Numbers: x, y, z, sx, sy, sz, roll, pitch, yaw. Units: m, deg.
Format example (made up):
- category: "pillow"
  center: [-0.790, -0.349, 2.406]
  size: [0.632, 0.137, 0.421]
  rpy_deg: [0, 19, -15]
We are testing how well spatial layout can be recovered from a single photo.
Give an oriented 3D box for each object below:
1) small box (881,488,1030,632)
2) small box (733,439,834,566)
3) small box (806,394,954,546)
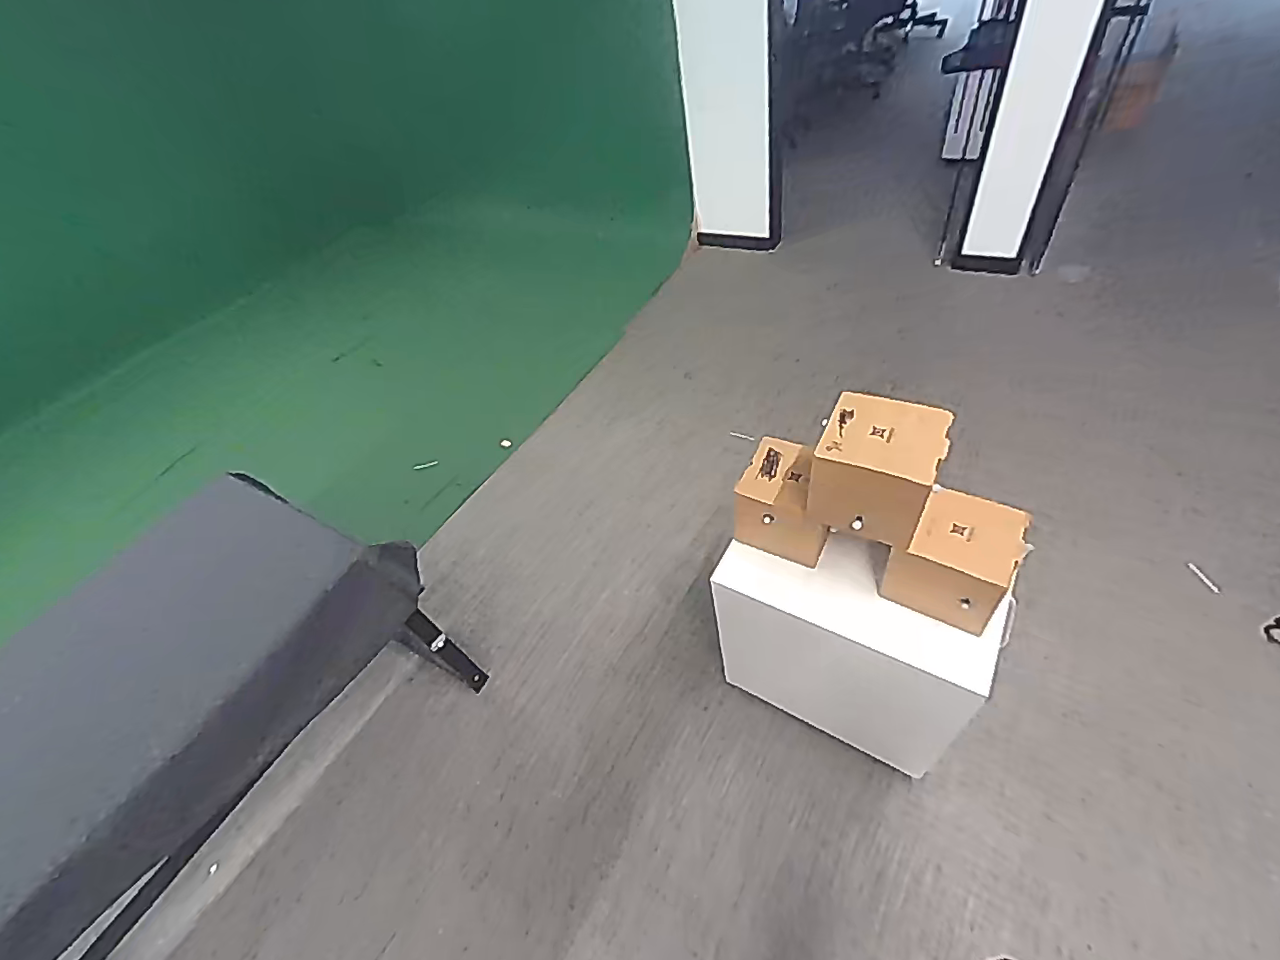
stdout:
- category: "small box"
  center: [0.547, 0.142, 0.953]
  size: [0.179, 0.176, 0.168]
  rpy_deg: [19, 55, 30]
- category: "small box"
  center: [0.302, 0.048, 1.094]
  size: [0.179, 0.176, 0.168]
  rpy_deg: [19, 56, 25]
- category: "small box"
  center: [0.394, -0.014, 0.906]
  size: [0.179, 0.176, 0.168]
  rpy_deg: [18, 55, 25]
